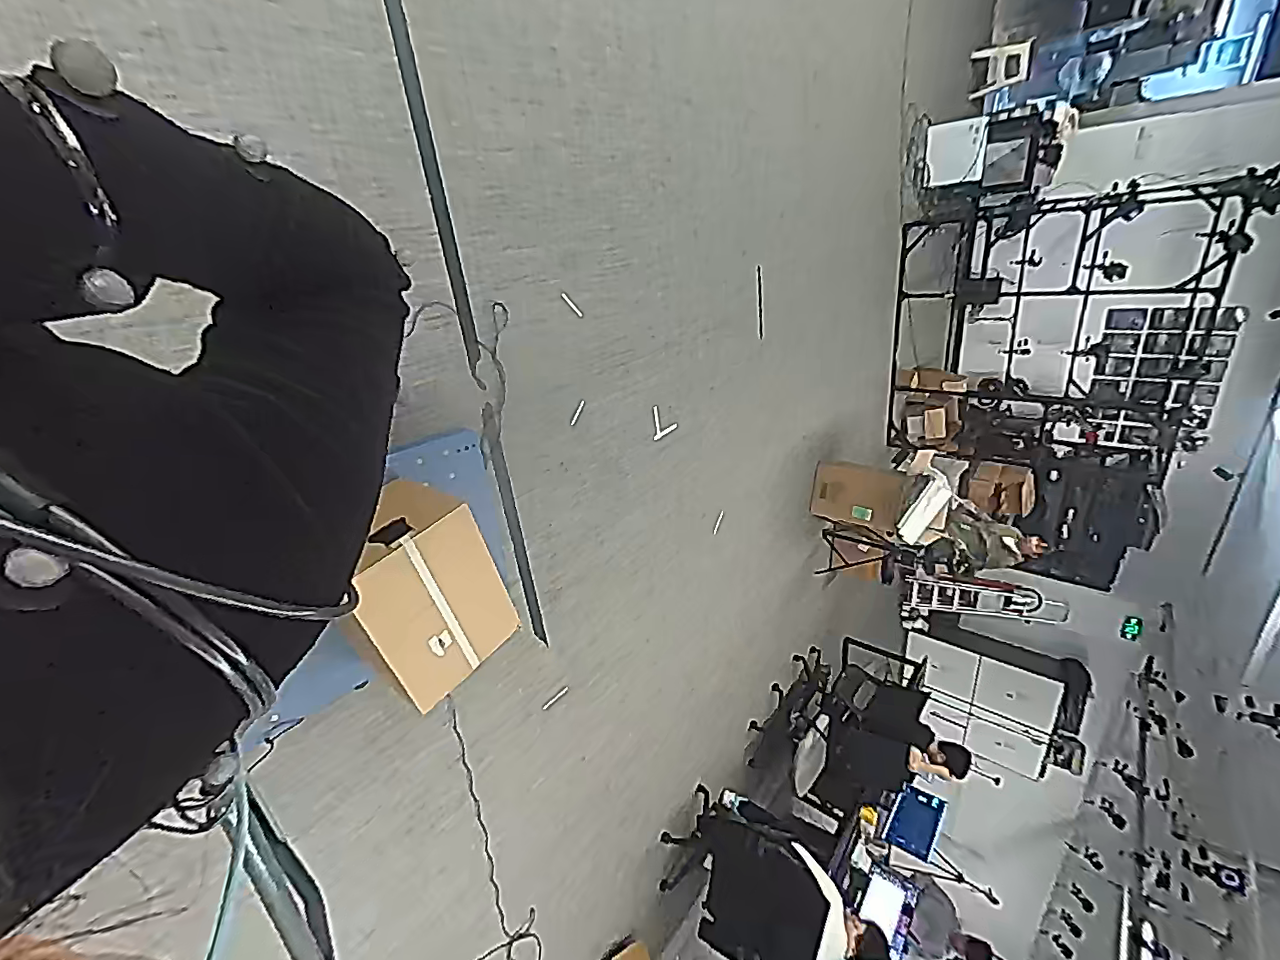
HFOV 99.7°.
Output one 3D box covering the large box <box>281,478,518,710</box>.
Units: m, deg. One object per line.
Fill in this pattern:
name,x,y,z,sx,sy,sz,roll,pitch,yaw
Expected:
large box,-0.568,0.259,1.316,0.320,0.320,0.408,-39,130,-36
